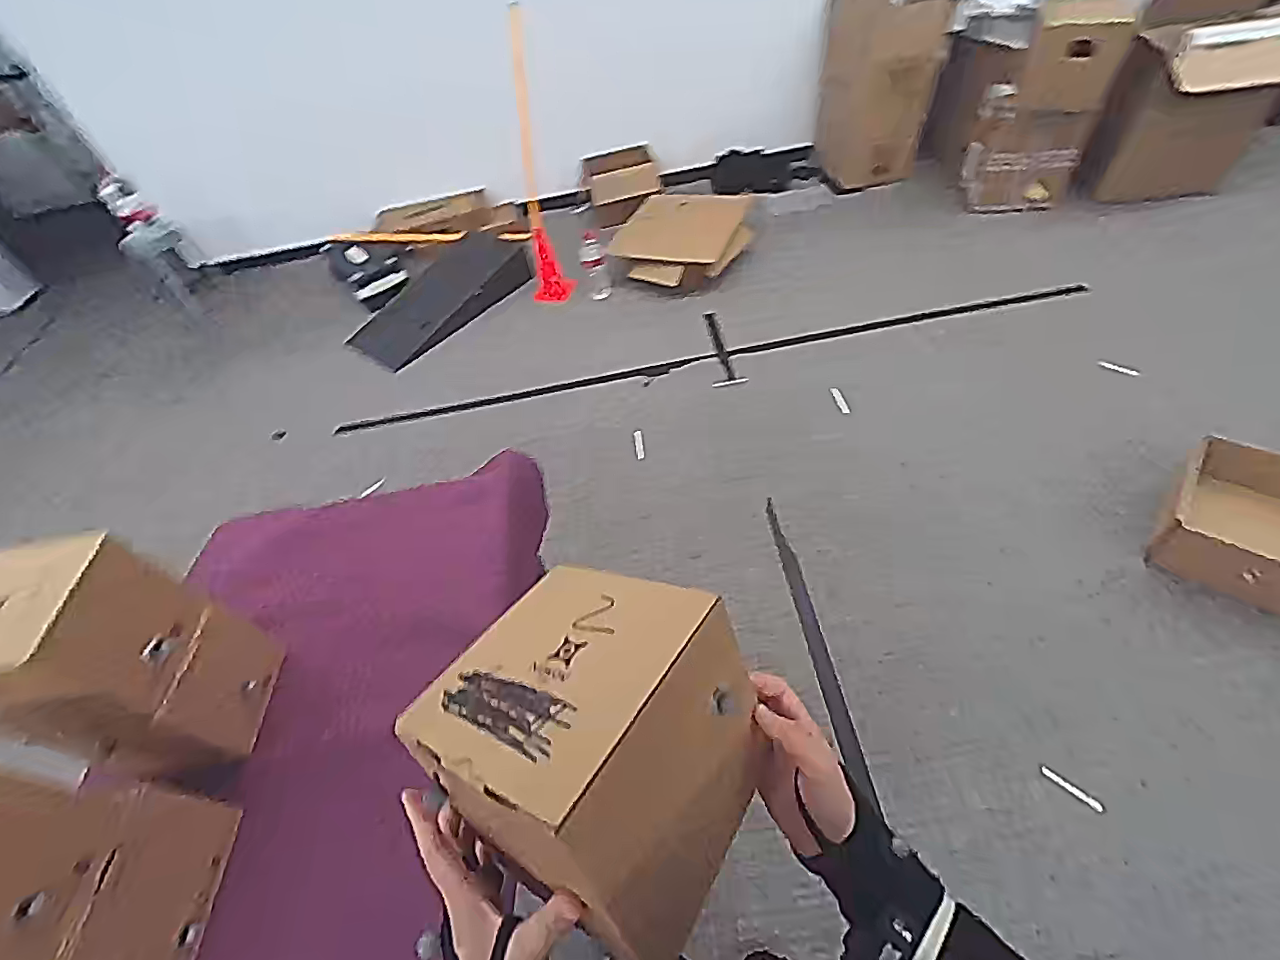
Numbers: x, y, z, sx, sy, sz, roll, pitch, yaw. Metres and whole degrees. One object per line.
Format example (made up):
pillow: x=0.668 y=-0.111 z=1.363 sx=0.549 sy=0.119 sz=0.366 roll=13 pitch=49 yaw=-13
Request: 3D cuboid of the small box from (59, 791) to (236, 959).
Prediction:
small box: x=-0.618 y=0.471 z=0.614 sx=0.179 sy=0.176 sz=0.168 roll=-10 pitch=48 yaw=2

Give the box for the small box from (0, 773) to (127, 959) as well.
small box: x=-0.643 y=0.377 z=0.482 sx=0.179 sy=0.176 sz=0.168 roll=-7 pitch=49 yaw=2

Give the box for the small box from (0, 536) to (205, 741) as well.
small box: x=-0.690 y=0.195 z=0.648 sx=0.179 sy=0.176 sz=0.168 roll=-11 pitch=49 yaw=-1

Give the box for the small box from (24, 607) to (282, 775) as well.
small box: x=-0.663 y=0.303 z=0.766 sx=0.179 sy=0.176 sz=0.168 roll=-9 pitch=49 yaw=1
